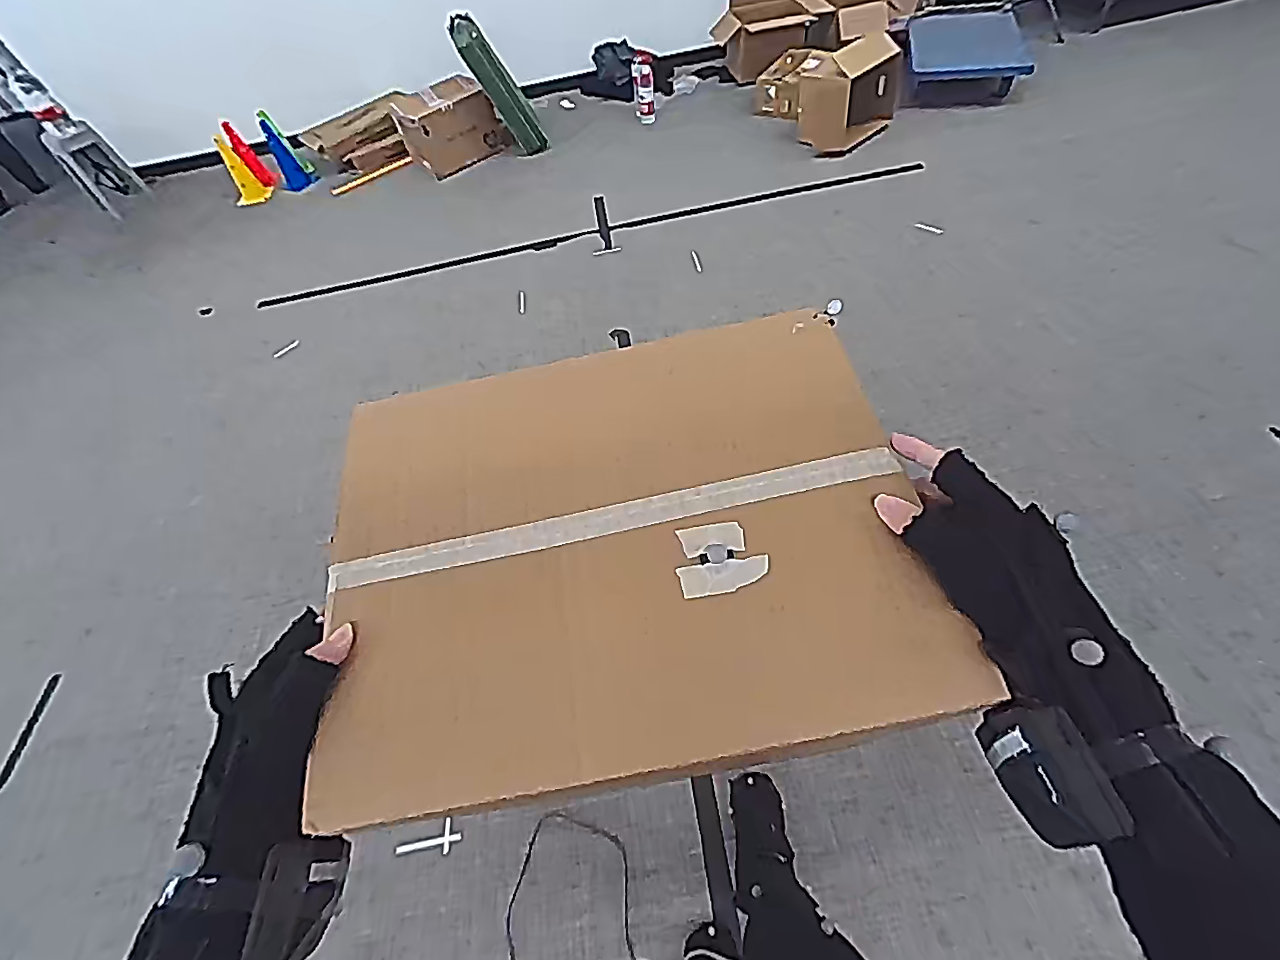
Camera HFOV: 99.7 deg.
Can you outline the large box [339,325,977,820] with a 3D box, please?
[{"bbox_3d":[0.001,0.108,0.526,0.408,0.320,0.320,-12,60,1],"label":"large box"}]
